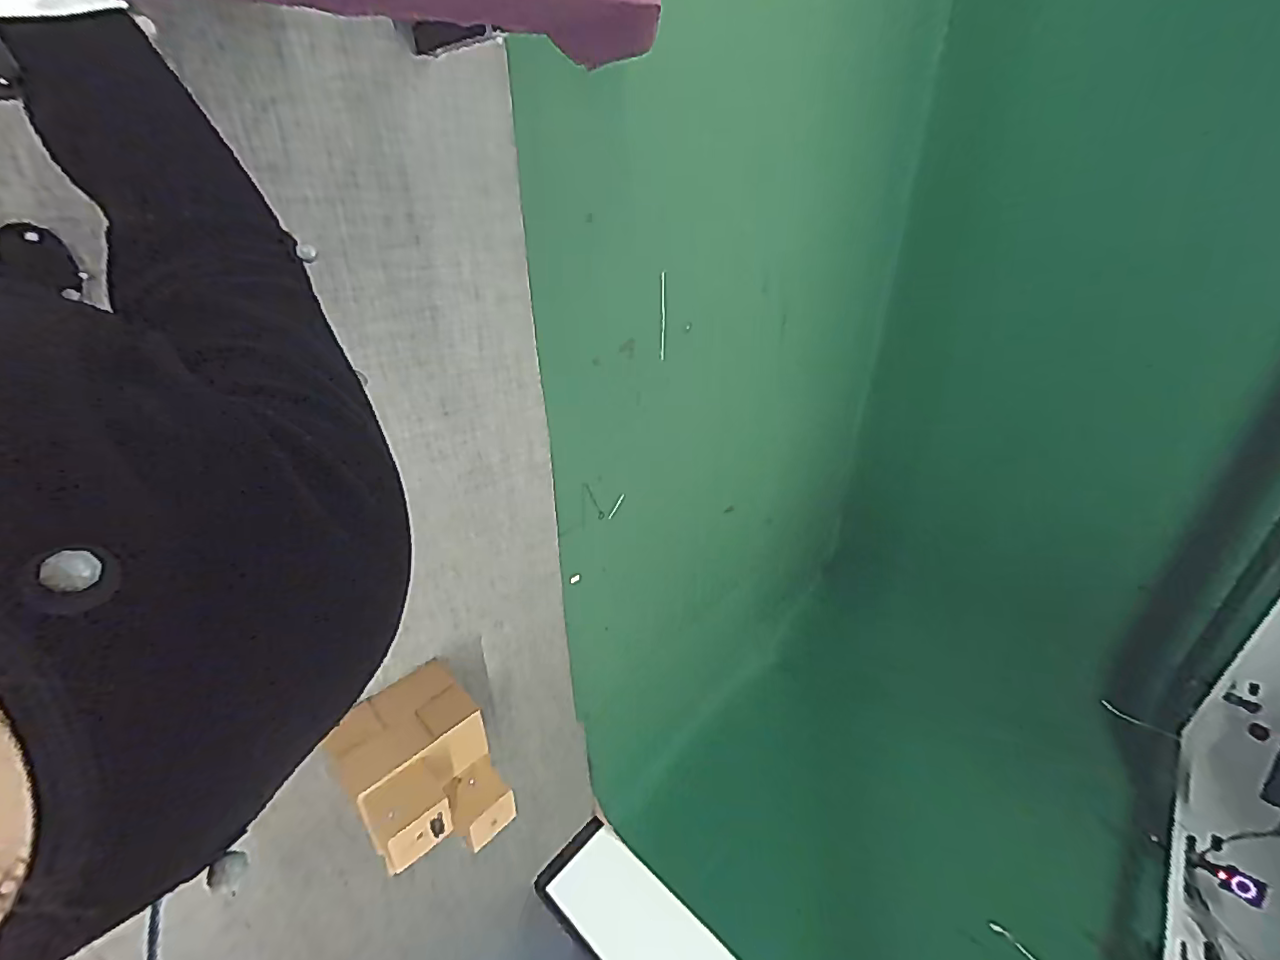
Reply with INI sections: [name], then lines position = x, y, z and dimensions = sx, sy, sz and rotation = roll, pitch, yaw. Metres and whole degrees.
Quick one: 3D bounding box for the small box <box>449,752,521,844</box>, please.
[small box]
position = -0.524, 1.071, 1.834
dimensions = 0.168, 0.176, 0.179
rotation = -29, 133, -40
